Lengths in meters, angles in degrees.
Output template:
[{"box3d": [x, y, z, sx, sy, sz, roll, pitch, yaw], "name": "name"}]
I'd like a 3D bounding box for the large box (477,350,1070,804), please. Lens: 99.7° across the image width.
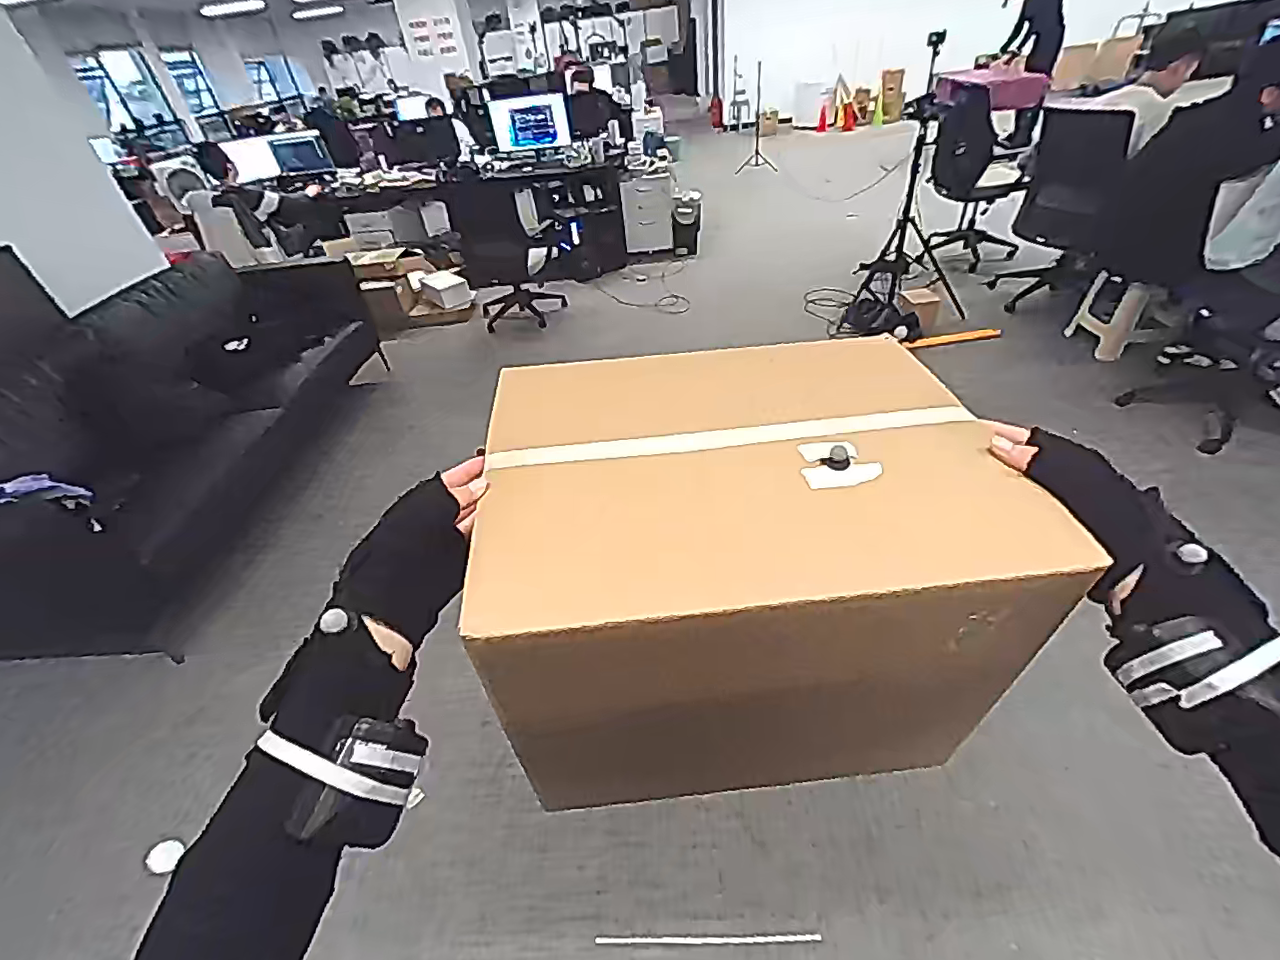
[{"box3d": [0.080, 0.089, 0.554, 0.408, 0.320, 0.320, -5, 42, -3], "name": "large box"}]
